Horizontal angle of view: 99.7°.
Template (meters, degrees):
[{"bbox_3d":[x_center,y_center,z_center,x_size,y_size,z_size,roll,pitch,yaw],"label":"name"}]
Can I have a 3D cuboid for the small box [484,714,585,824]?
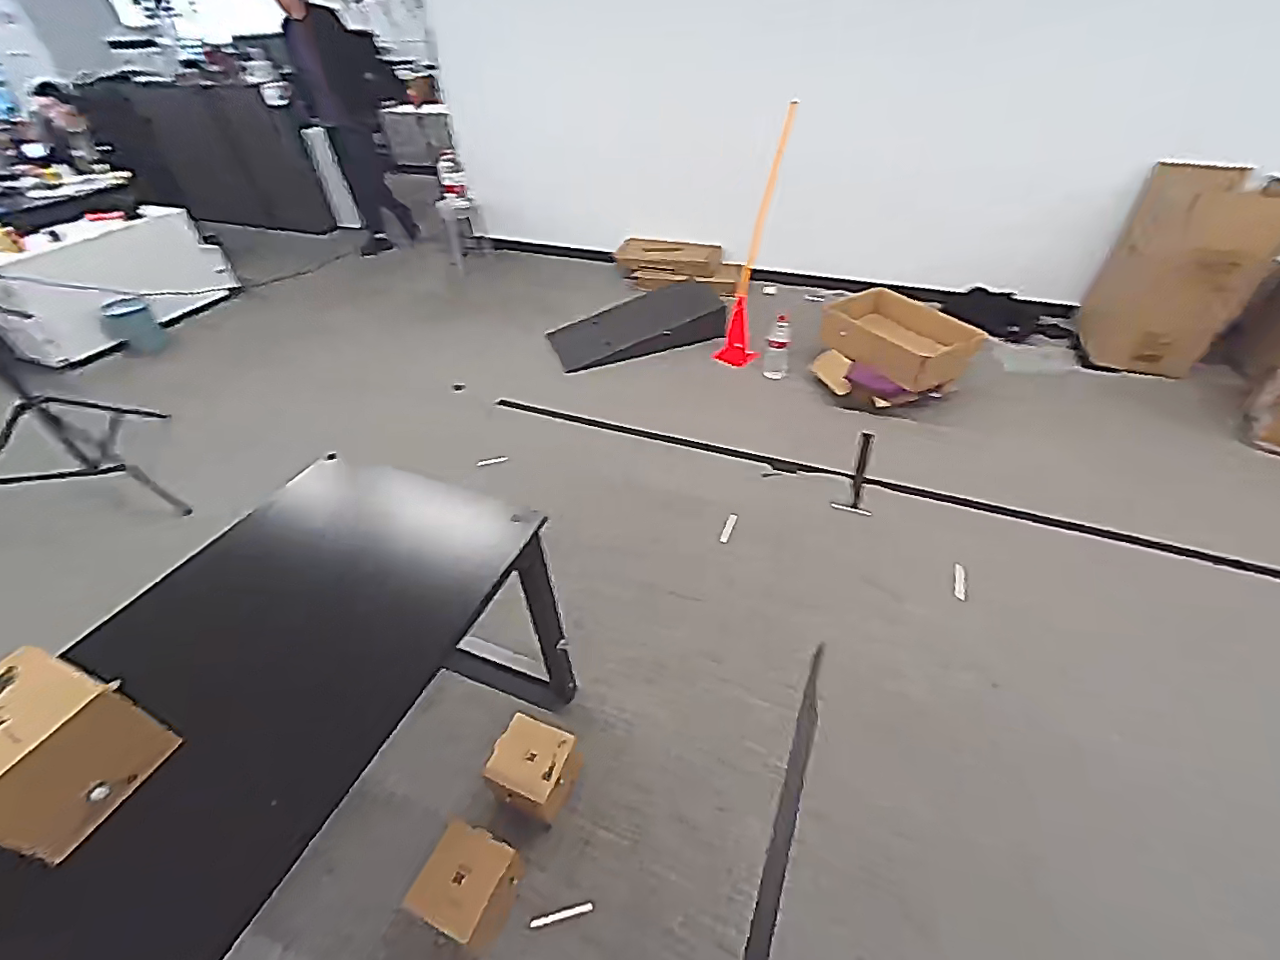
[{"bbox_3d":[-0.257,0.729,1.361,0.179,0.176,0.168,14,45,19],"label":"small box"}]

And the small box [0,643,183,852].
[{"bbox_3d":[-0.779,0.354,0.716,0.179,0.176,0.168,15,44,18],"label":"small box"}]

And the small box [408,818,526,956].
[{"bbox_3d":[-0.366,0.893,1.186,0.168,0.176,0.179,14,45,19],"label":"small box"}]
